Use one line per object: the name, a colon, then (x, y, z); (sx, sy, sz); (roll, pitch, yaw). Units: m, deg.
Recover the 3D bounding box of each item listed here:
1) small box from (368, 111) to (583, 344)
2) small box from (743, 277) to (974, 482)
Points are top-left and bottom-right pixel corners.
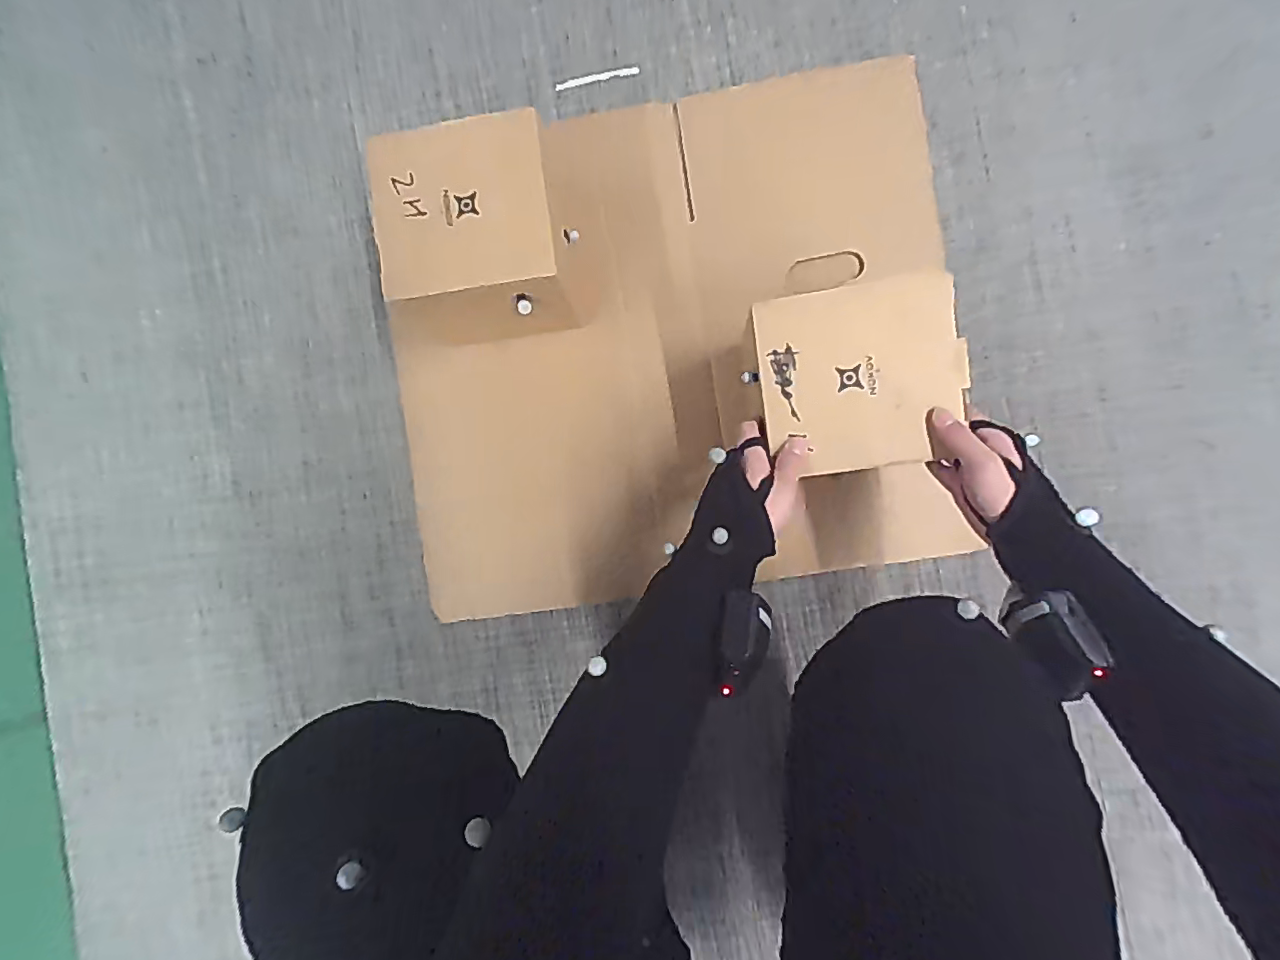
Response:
small box: (-0.164, -0.259, 0.597); (0.179, 0.176, 0.168); (-7, 89, 4)
small box: (0.209, -0.091, 0.562); (0.179, 0.176, 0.168); (-7, 91, 8)
